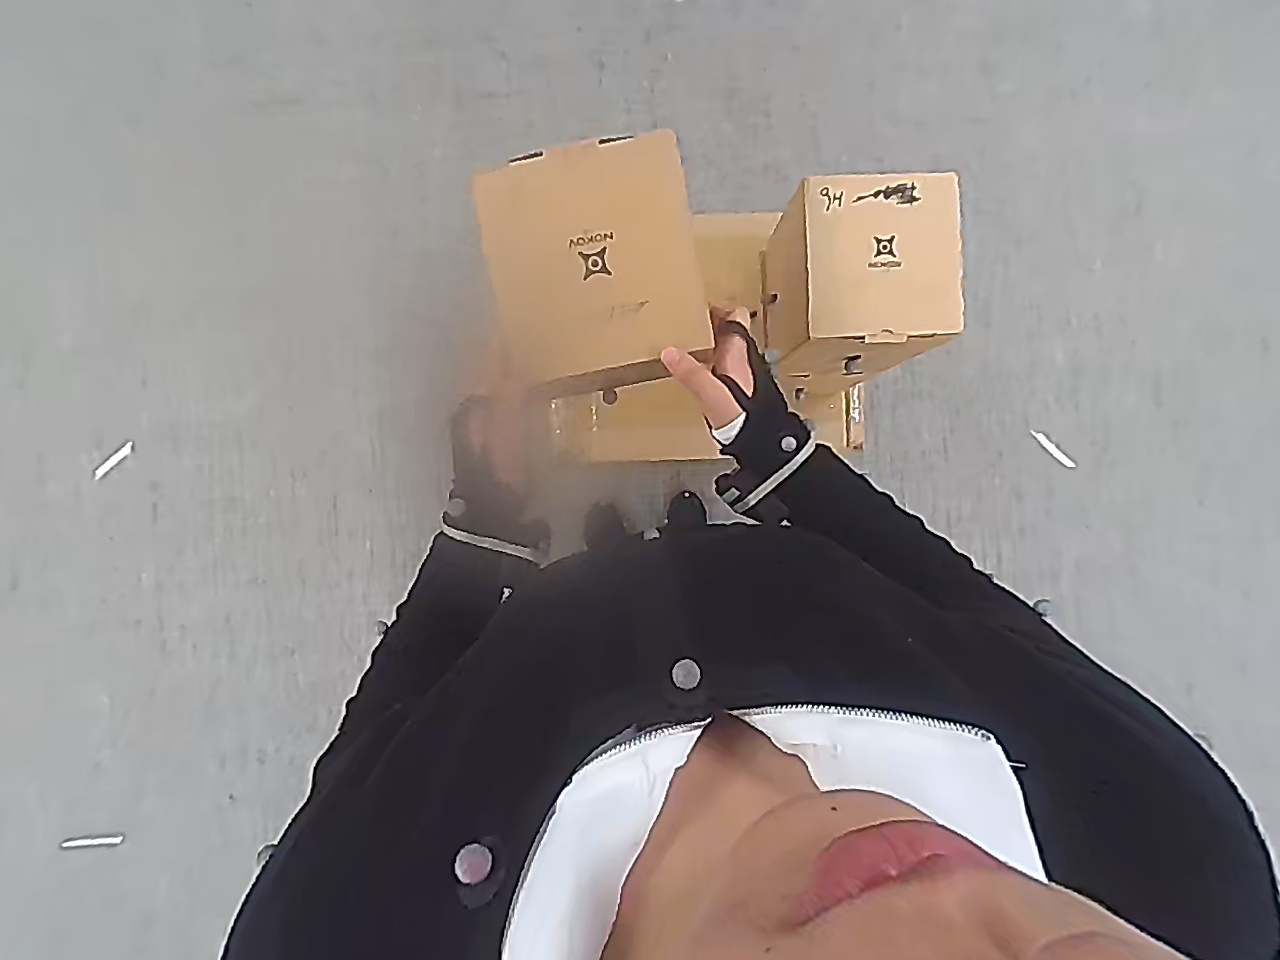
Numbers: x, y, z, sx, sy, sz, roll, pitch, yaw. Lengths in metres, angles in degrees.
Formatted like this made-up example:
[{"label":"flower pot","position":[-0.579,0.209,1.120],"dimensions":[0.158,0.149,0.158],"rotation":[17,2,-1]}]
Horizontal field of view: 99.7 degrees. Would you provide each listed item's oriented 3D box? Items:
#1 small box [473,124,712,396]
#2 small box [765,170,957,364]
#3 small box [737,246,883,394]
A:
[{"label":"small box","position":[-0.038,-0.185,0.506],"dimensions":[0.168,0.176,0.179],"rotation":[-11,94,0]},{"label":"small box","position":[0.252,-0.239,0.650],"dimensions":[0.168,0.176,0.179],"rotation":[-1,90,-1]},{"label":"small box","position":[0.245,-0.233,0.814],"dimensions":[0.168,0.176,0.179],"rotation":[-3,90,-1]}]
